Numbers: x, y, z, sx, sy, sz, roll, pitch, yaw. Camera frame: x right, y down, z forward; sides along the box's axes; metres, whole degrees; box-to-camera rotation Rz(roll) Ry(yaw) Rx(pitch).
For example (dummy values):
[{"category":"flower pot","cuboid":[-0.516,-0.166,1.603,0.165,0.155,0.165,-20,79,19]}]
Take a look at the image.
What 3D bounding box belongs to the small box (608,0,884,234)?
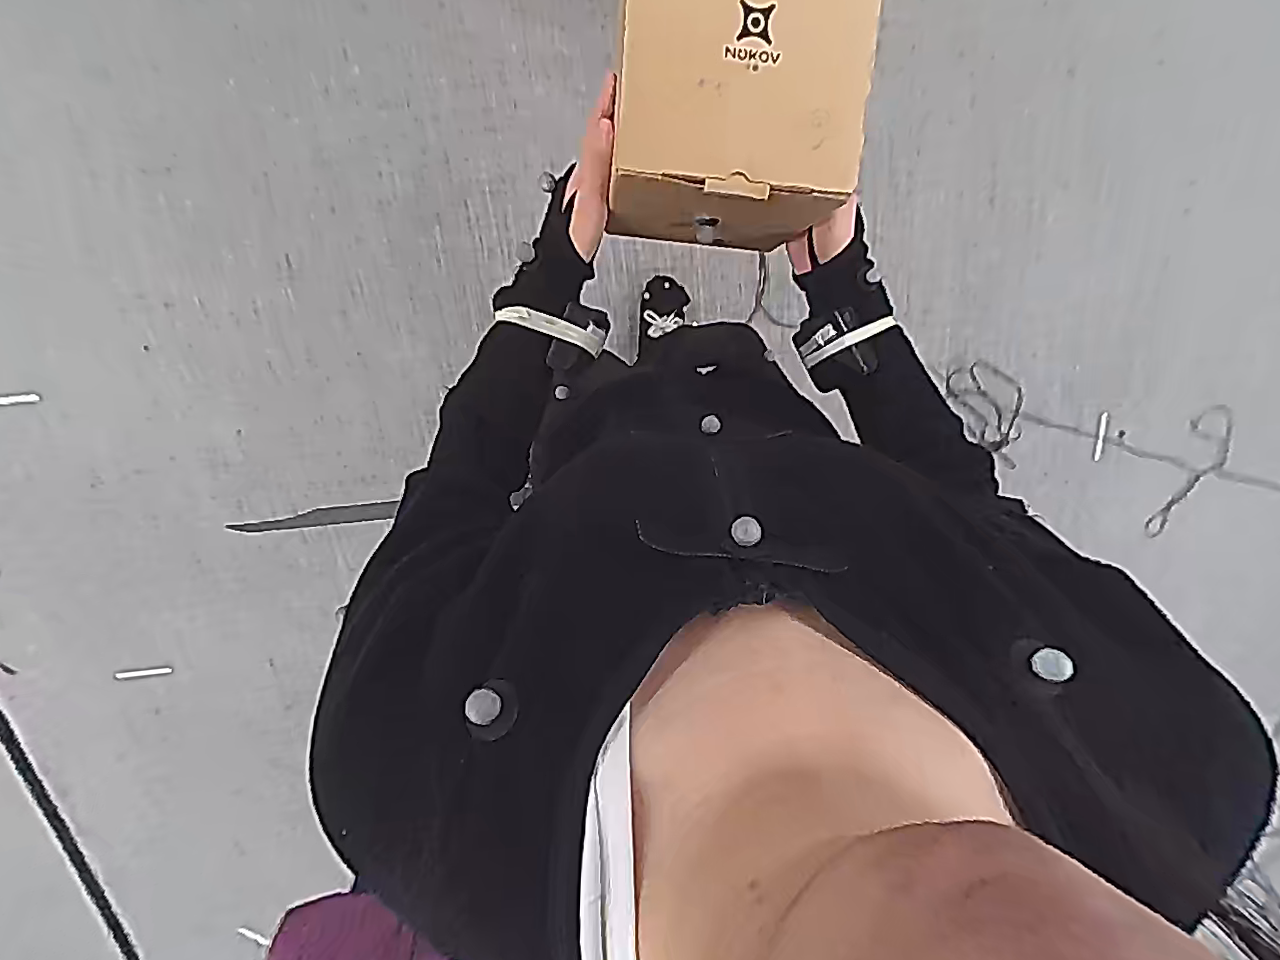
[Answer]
[{"category":"small box","cuboid":[0.064,-0.302,0.417,0.168,0.176,0.179,2,102,-7]}]
